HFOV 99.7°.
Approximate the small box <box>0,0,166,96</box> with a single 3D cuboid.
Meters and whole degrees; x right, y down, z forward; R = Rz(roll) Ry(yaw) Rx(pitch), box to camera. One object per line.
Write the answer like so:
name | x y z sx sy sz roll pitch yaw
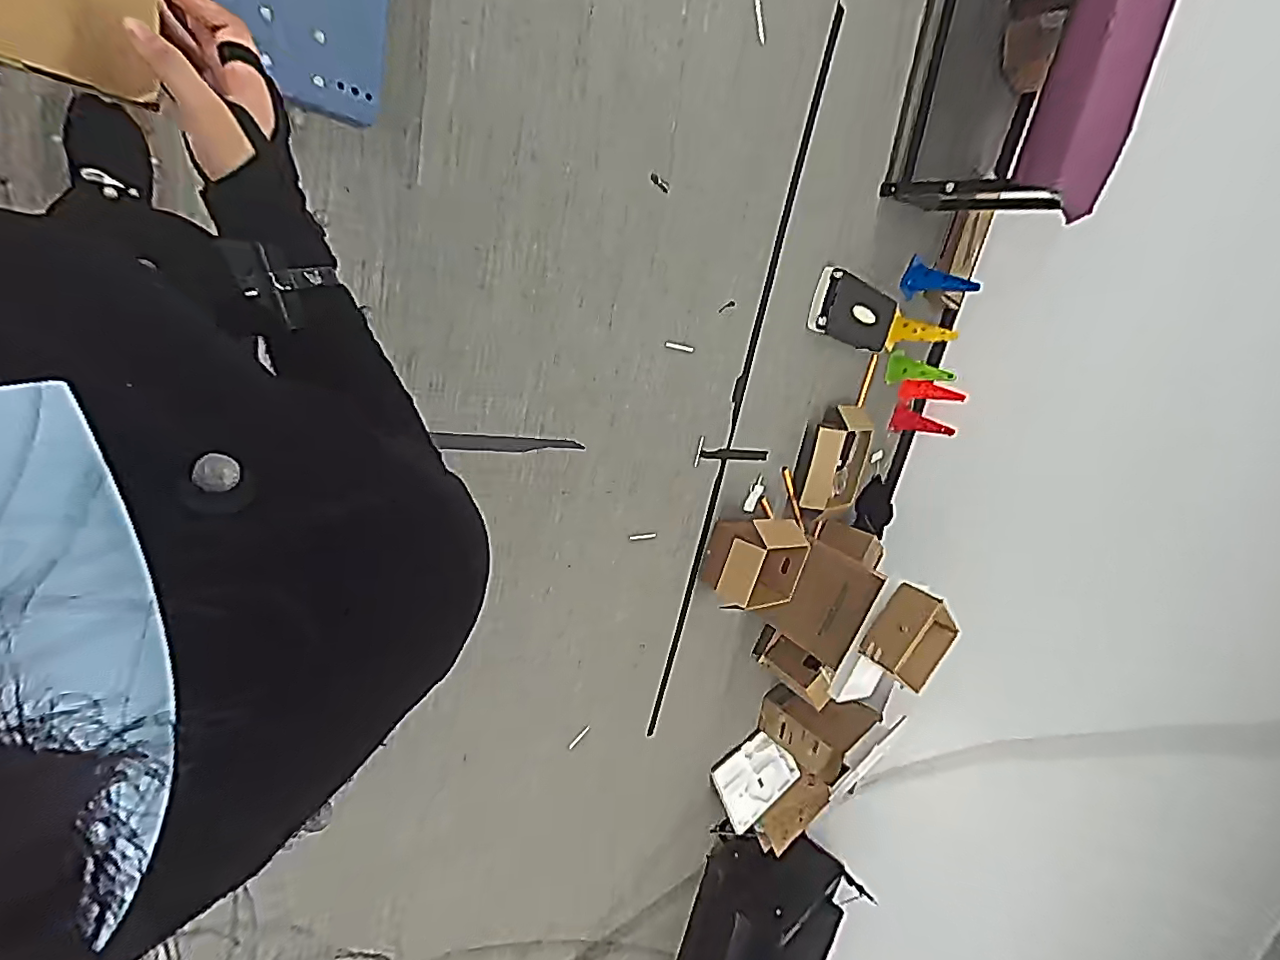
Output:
small box | -0.398 -0.361 0.317 0.168 0.176 0.179 -4 120 -46
